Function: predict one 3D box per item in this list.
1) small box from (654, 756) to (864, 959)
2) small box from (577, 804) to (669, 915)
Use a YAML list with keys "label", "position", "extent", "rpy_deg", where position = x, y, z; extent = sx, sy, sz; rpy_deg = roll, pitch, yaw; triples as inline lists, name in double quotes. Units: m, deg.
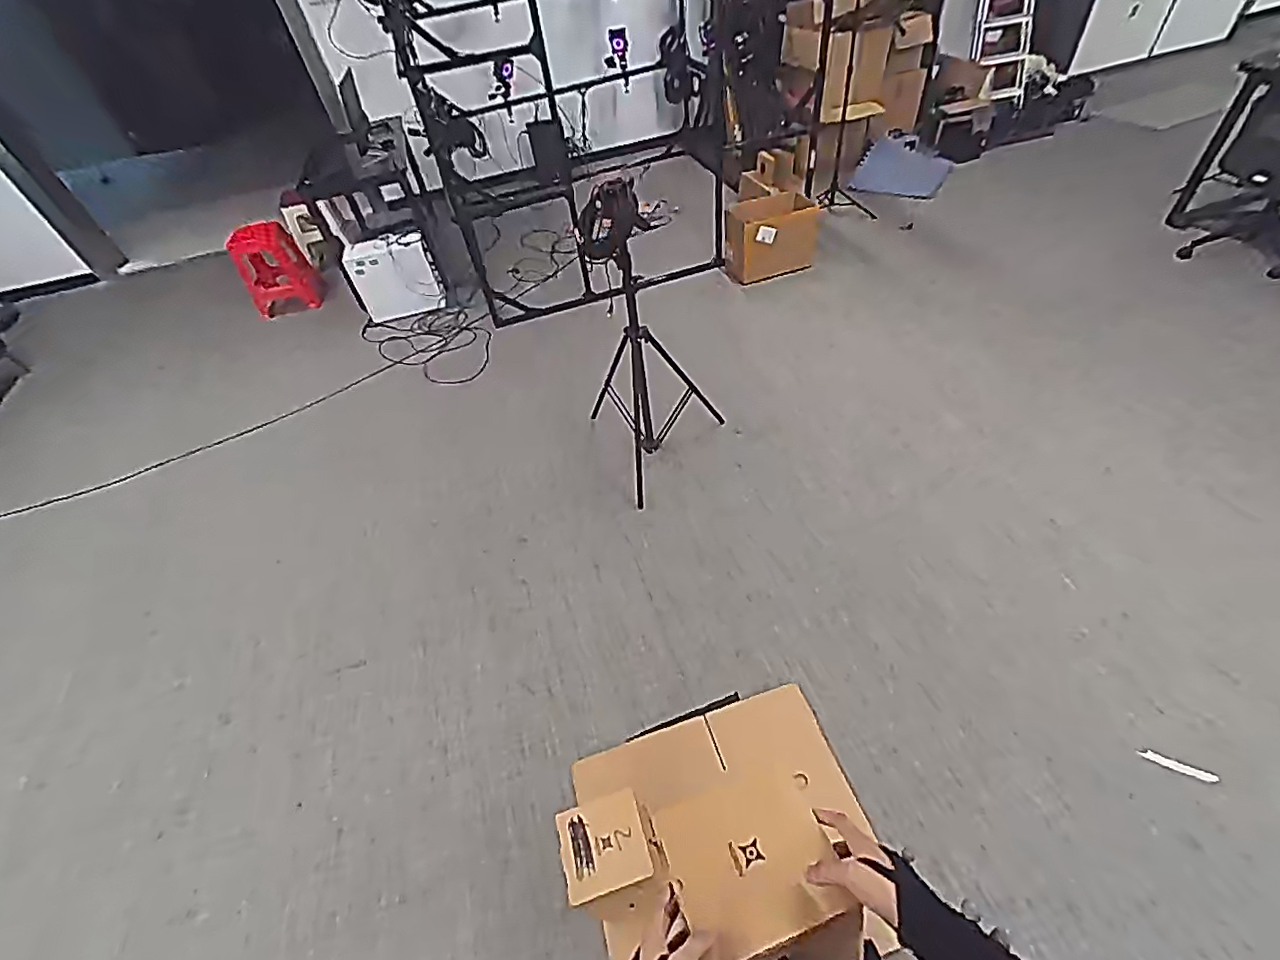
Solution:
- label: "small box"
  position: [0.135, 0.471, 0.632]
  extent: [0.179, 0.176, 0.168]
  rpy_deg: [-20, 32, -8]
- label: "small box"
  position: [-0.036, 0.906, 1.289]
  extent: [0.179, 0.176, 0.168]
  rpy_deg: [-18, 48, -6]
